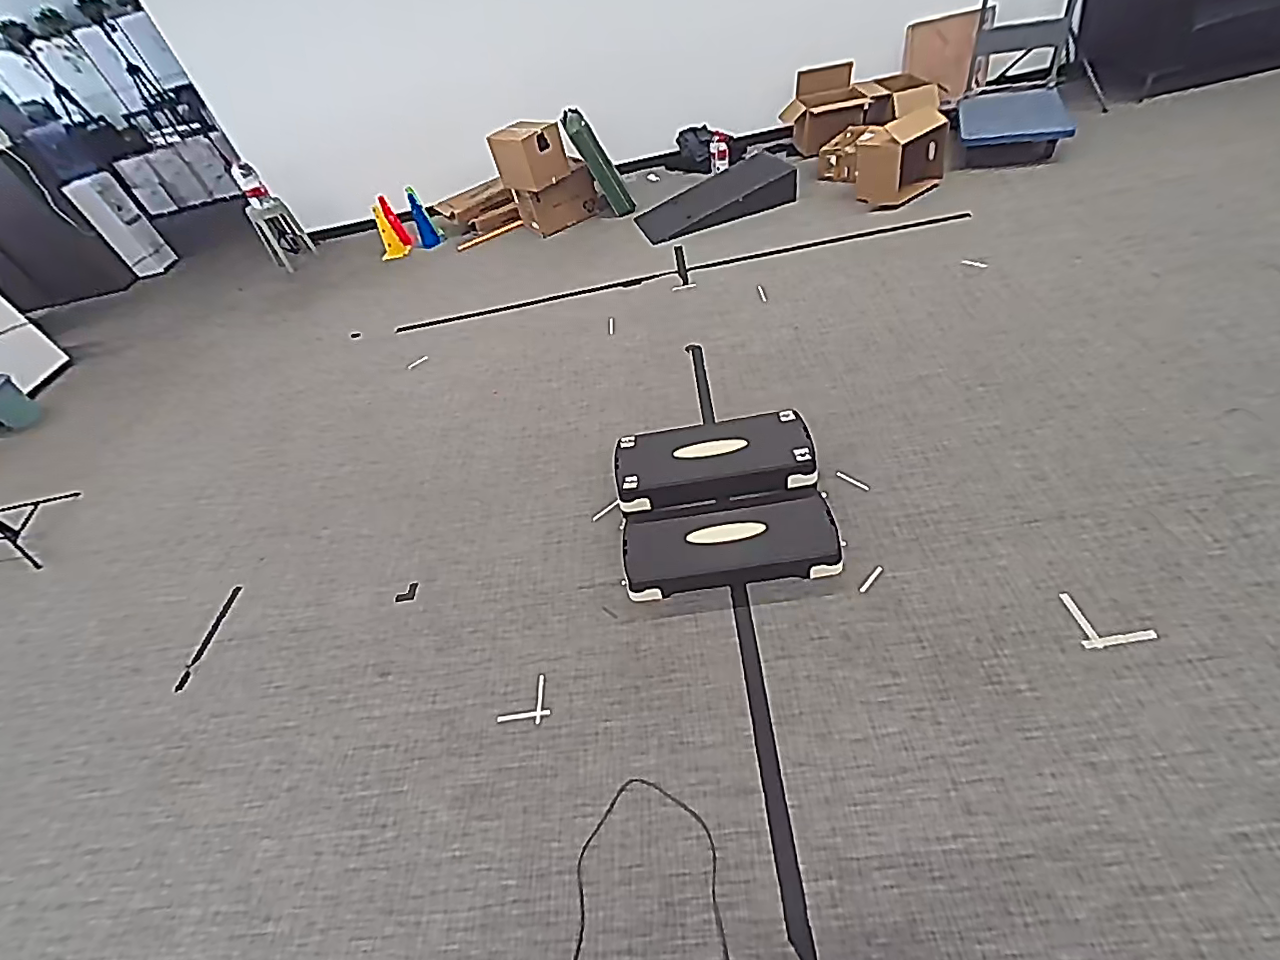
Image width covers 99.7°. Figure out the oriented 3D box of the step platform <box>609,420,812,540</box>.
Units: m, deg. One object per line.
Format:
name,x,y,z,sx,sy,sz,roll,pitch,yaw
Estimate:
step platform,0.235,-0.005,1.876,0.684,0.204,0.286,-10,46,4
